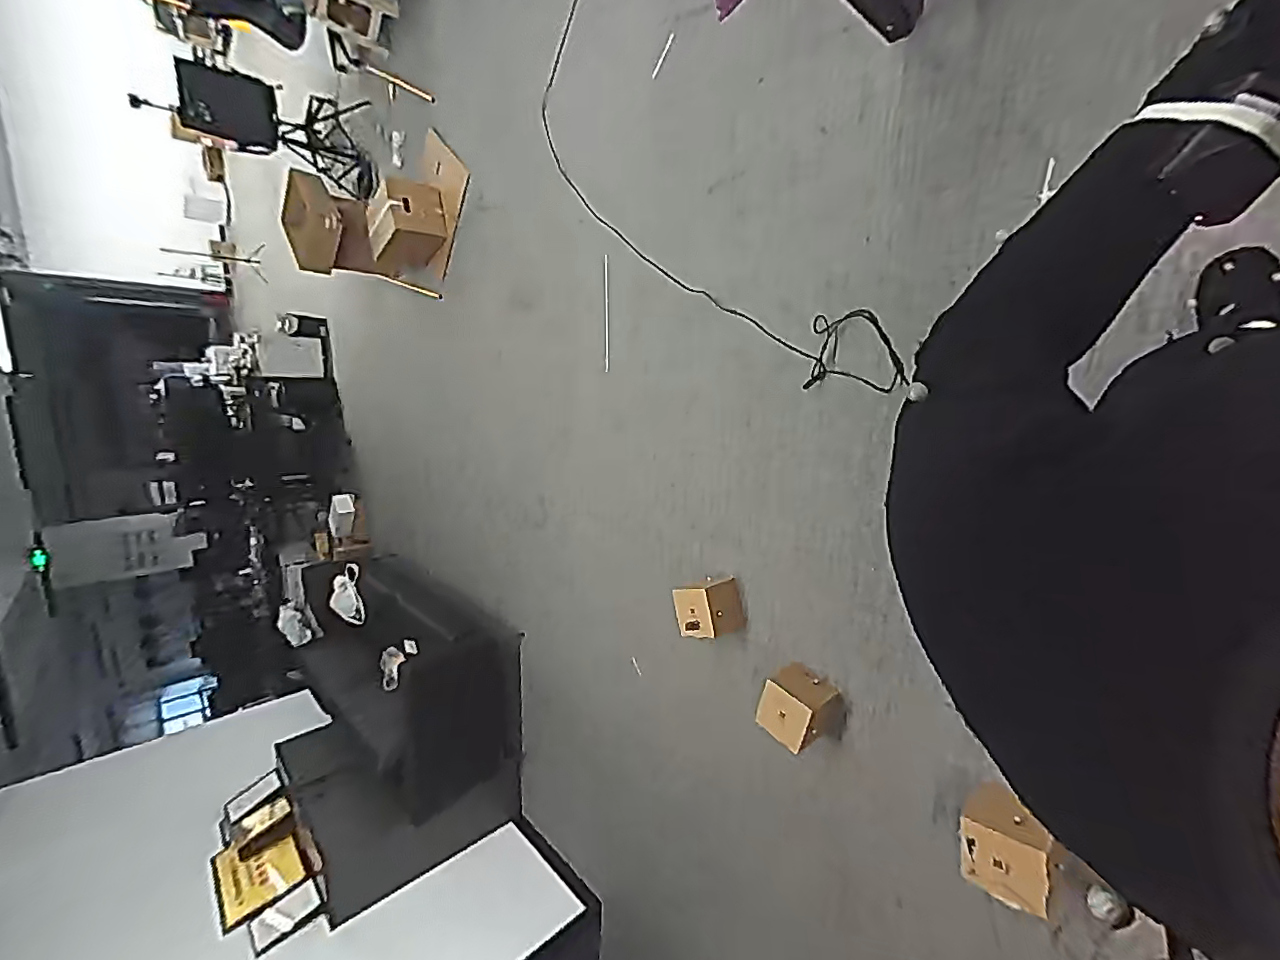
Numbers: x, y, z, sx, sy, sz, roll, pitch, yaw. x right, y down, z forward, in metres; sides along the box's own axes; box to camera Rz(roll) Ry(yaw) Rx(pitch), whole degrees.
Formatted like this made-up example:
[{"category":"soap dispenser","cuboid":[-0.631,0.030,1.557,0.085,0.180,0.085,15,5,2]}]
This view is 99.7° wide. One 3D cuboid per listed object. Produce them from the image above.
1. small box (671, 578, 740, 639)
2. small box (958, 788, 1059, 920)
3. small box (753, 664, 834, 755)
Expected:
[{"category":"small box","cuboid":[0.240,0.461,1.957,0.168,0.176,0.179,-15,85,47]},{"category":"small box","cuboid":[0.894,0.889,1.309,0.179,0.176,0.168,3,98,46]},{"category":"small box","cuboid":[0.493,0.724,1.724,0.168,0.176,0.179,29,117,41]}]
